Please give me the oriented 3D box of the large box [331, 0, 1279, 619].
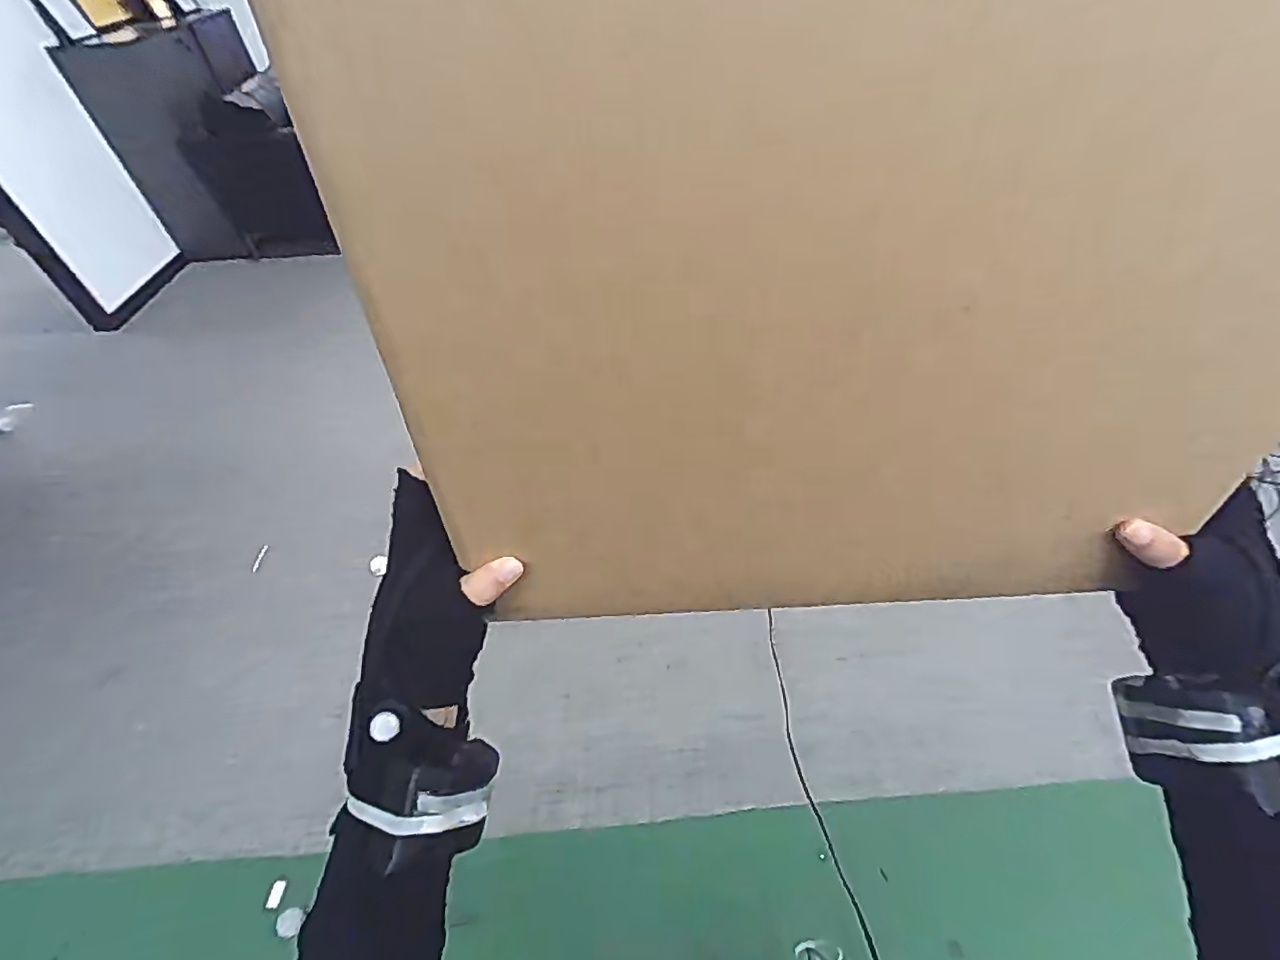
[{"bbox_3d":[0.102,-0.135,0.347,0.408,0.320,0.320,-2,40,-2],"label":"large box"}]
